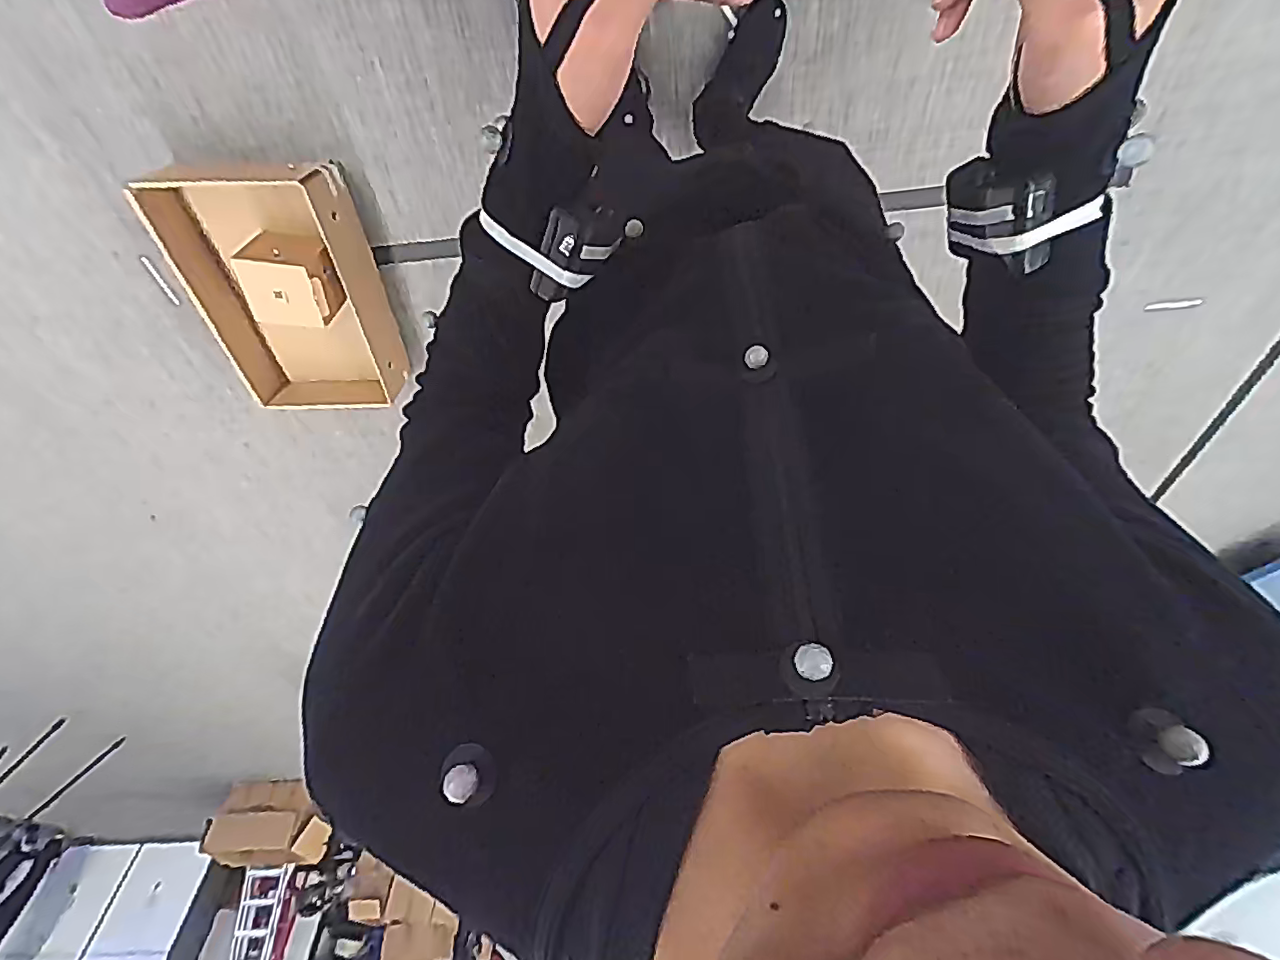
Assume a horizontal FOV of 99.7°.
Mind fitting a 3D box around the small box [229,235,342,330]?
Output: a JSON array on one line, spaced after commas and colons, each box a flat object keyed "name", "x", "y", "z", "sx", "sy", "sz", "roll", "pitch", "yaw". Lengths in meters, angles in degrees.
[{"name": "small box", "x": -0.885, "y": -0.504, "z": 1.375, "sx": 0.179, "sy": 0.176, "sz": 0.168, "roll": 5, "pitch": 135, "yaw": -6}]
